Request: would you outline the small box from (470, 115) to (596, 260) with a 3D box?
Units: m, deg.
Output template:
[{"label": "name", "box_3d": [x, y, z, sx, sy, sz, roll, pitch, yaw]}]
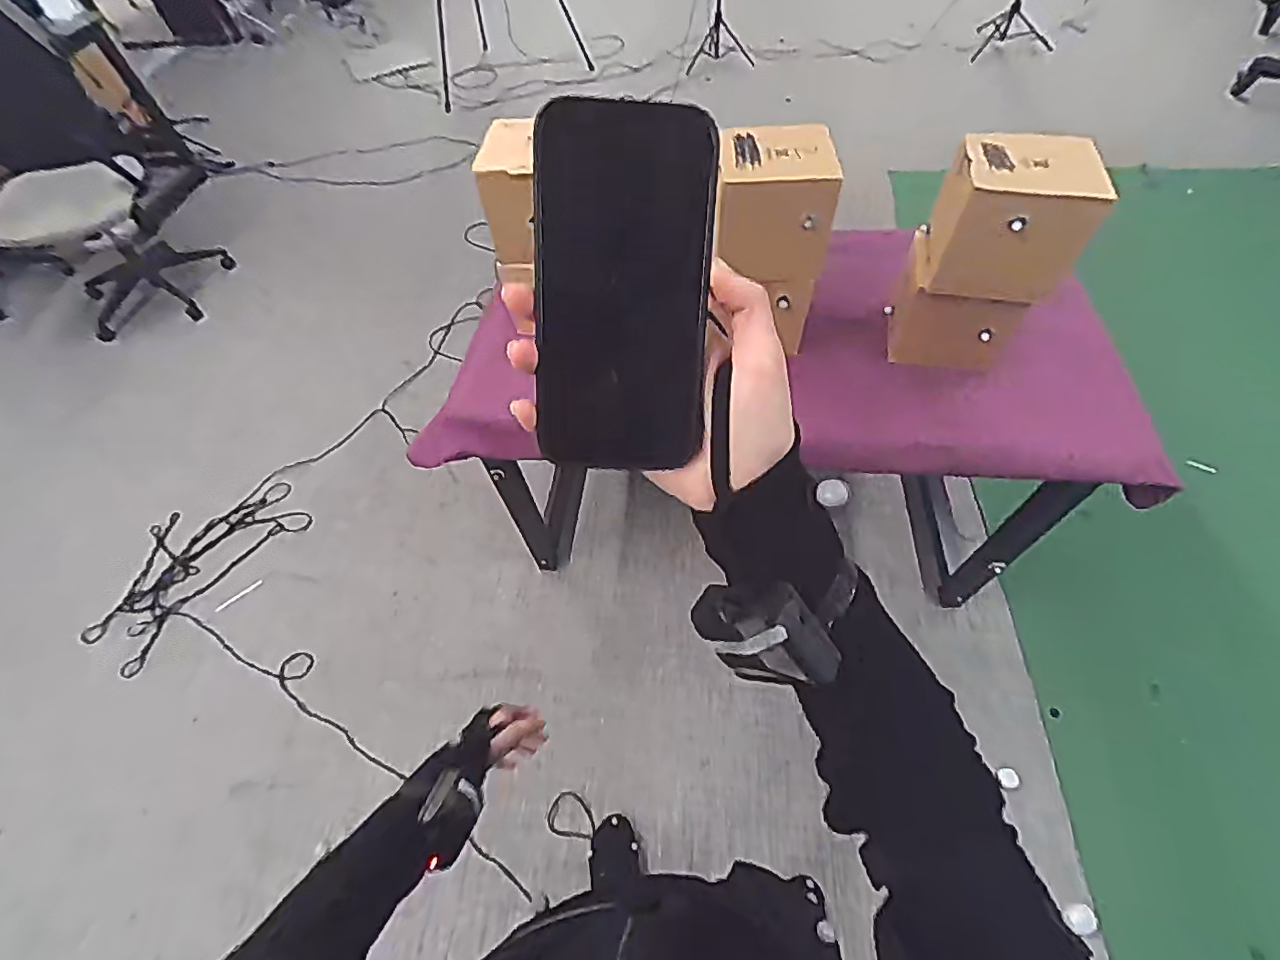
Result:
[{"label": "small box", "box_3d": [-0.175, -0.505, 0.949, 0.168, 0.176, 0.179, 1, 57, 5]}]

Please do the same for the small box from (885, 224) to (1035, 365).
[{"label": "small box", "box_3d": [0.553, -0.324, 0.958, 0.179, 0.176, 0.168, 9, 57, 12]}]

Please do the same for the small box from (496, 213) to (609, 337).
[{"label": "small box", "box_3d": [-0.163, -0.406, 1.080, 0.168, 0.176, 0.179, 5, 56, 9]}]

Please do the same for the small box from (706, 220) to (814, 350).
[{"label": "small box", "box_3d": [0.220, -0.361, 1.013, 0.179, 0.176, 0.168, 4, 56, 8]}]

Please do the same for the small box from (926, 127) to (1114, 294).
[{"label": "small box", "box_3d": [0.547, -0.402, 0.814, 0.179, 0.176, 0.168, 10, 57, 11]}]
